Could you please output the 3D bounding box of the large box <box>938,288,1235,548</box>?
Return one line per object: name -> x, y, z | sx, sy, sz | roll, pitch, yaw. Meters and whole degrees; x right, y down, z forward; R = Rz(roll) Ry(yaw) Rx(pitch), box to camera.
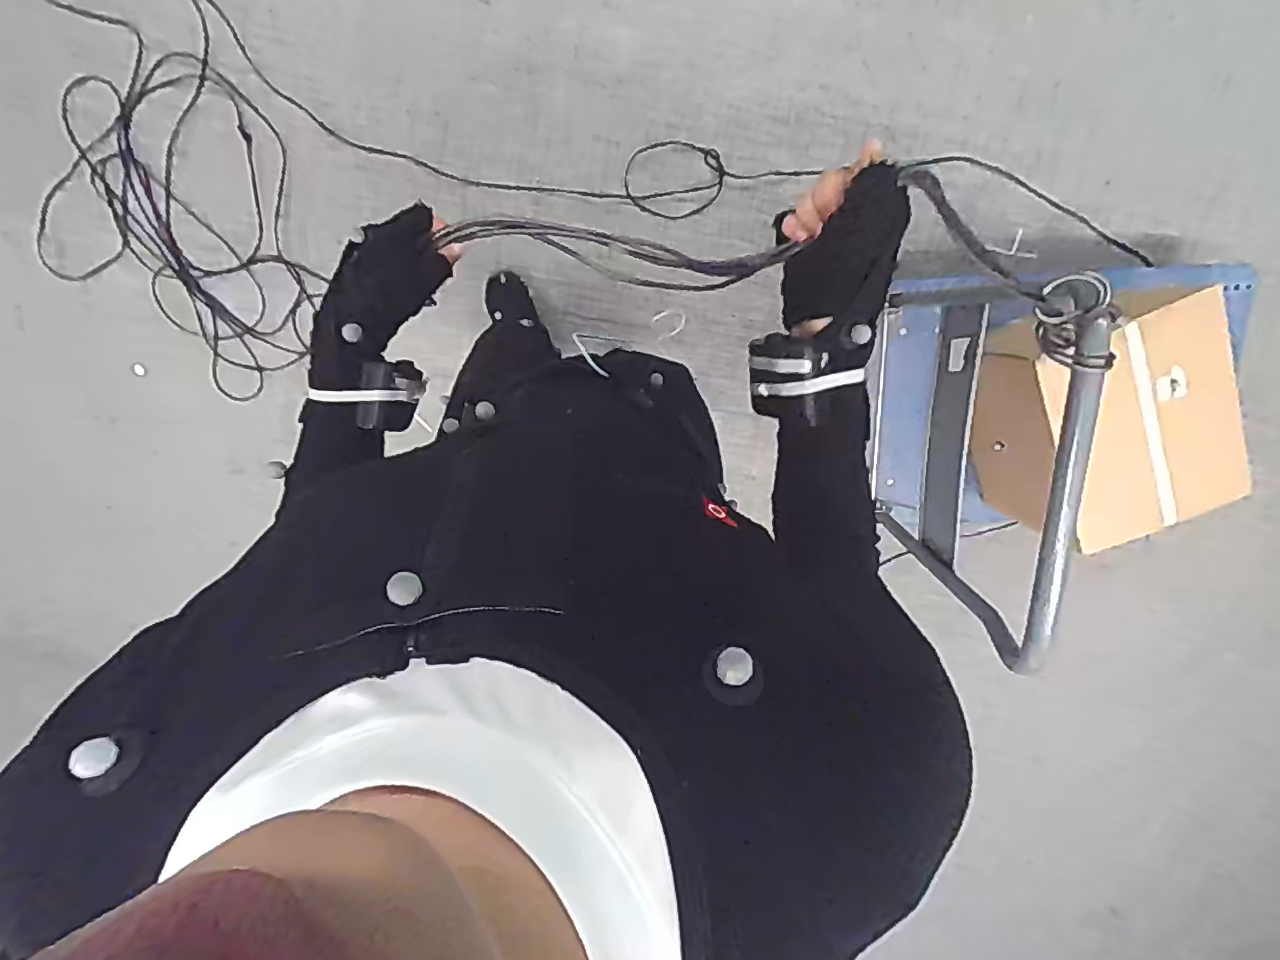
large box -> 0.896, -0.135, 1.126 | 0.320, 0.320, 0.408 | -23, 104, 6
